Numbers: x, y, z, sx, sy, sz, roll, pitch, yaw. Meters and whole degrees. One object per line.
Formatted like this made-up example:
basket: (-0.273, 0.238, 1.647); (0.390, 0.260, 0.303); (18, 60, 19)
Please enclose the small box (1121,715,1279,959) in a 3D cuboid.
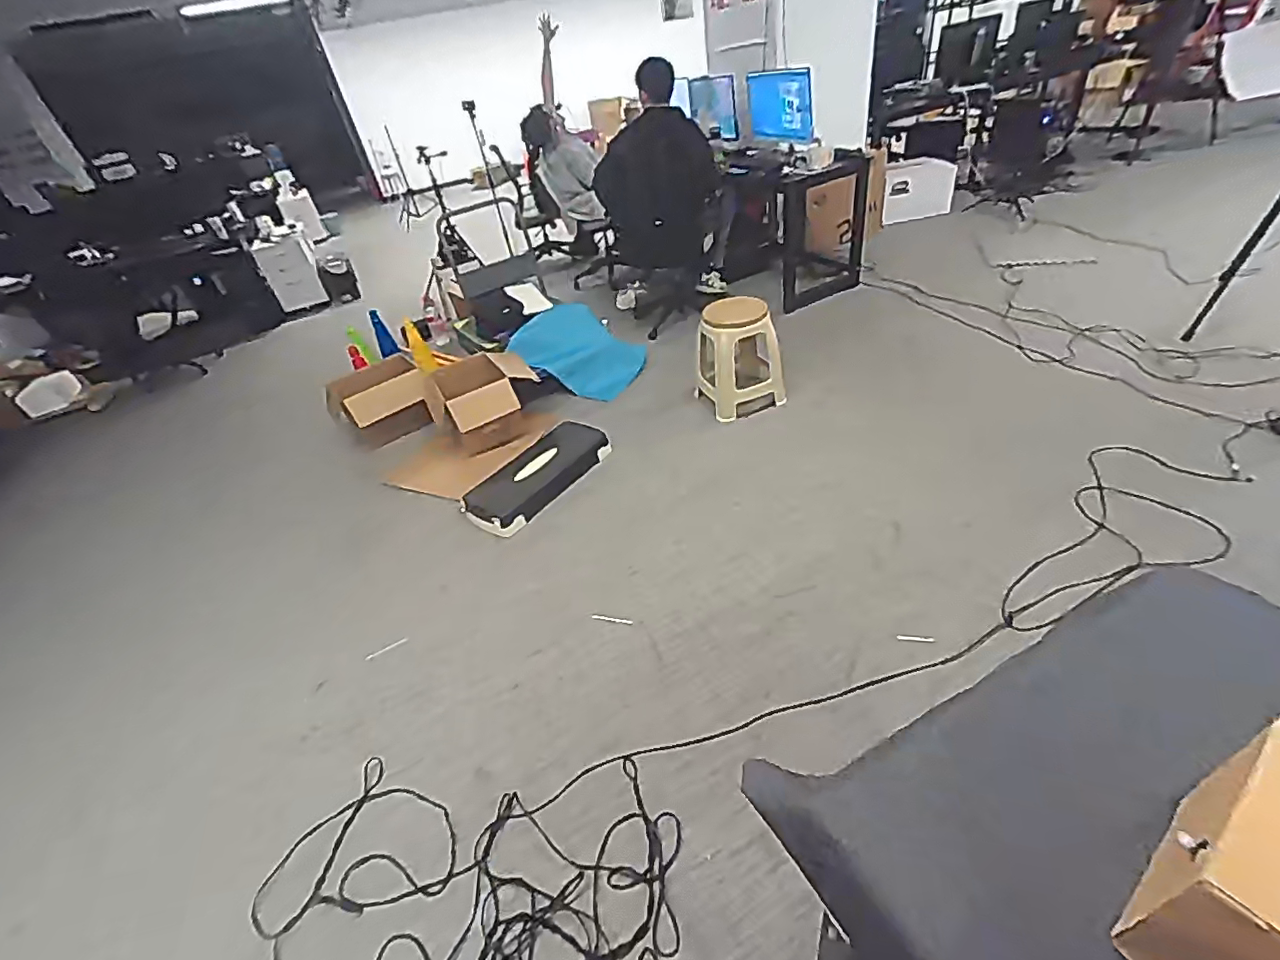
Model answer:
small box: (0.508, 0.320, 0.396); (0.179, 0.176, 0.168); (-32, 43, -24)
